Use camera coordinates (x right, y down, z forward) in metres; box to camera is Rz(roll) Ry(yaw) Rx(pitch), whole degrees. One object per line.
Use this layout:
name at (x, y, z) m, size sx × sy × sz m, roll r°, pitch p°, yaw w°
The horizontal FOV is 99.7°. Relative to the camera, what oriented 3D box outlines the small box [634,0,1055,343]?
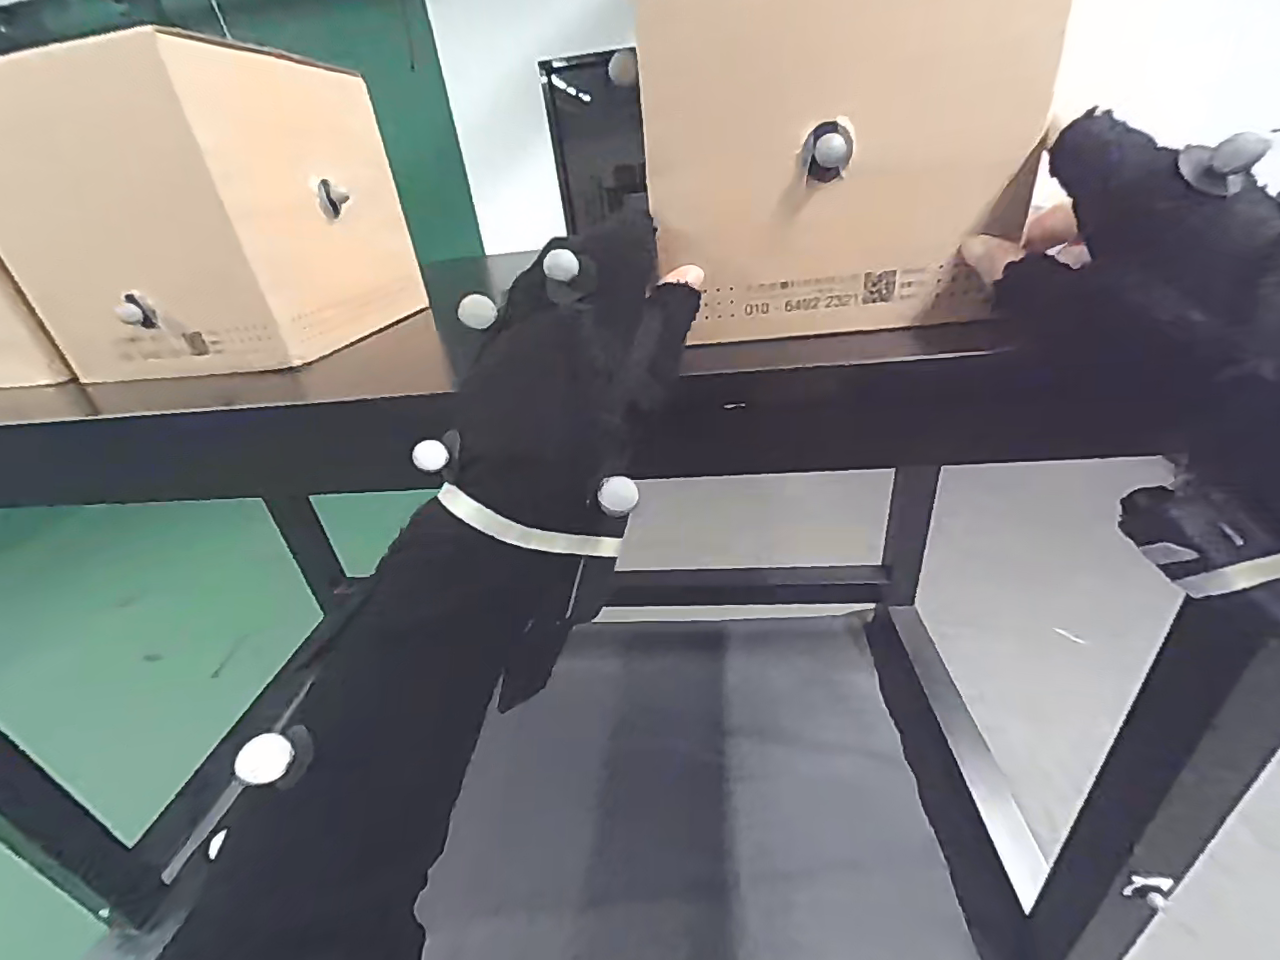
small box at (0.095, -0.179, 0.304) m, size 0.168 × 0.176 × 0.179 m, roll -2°, pitch 29°, yaw 8°
